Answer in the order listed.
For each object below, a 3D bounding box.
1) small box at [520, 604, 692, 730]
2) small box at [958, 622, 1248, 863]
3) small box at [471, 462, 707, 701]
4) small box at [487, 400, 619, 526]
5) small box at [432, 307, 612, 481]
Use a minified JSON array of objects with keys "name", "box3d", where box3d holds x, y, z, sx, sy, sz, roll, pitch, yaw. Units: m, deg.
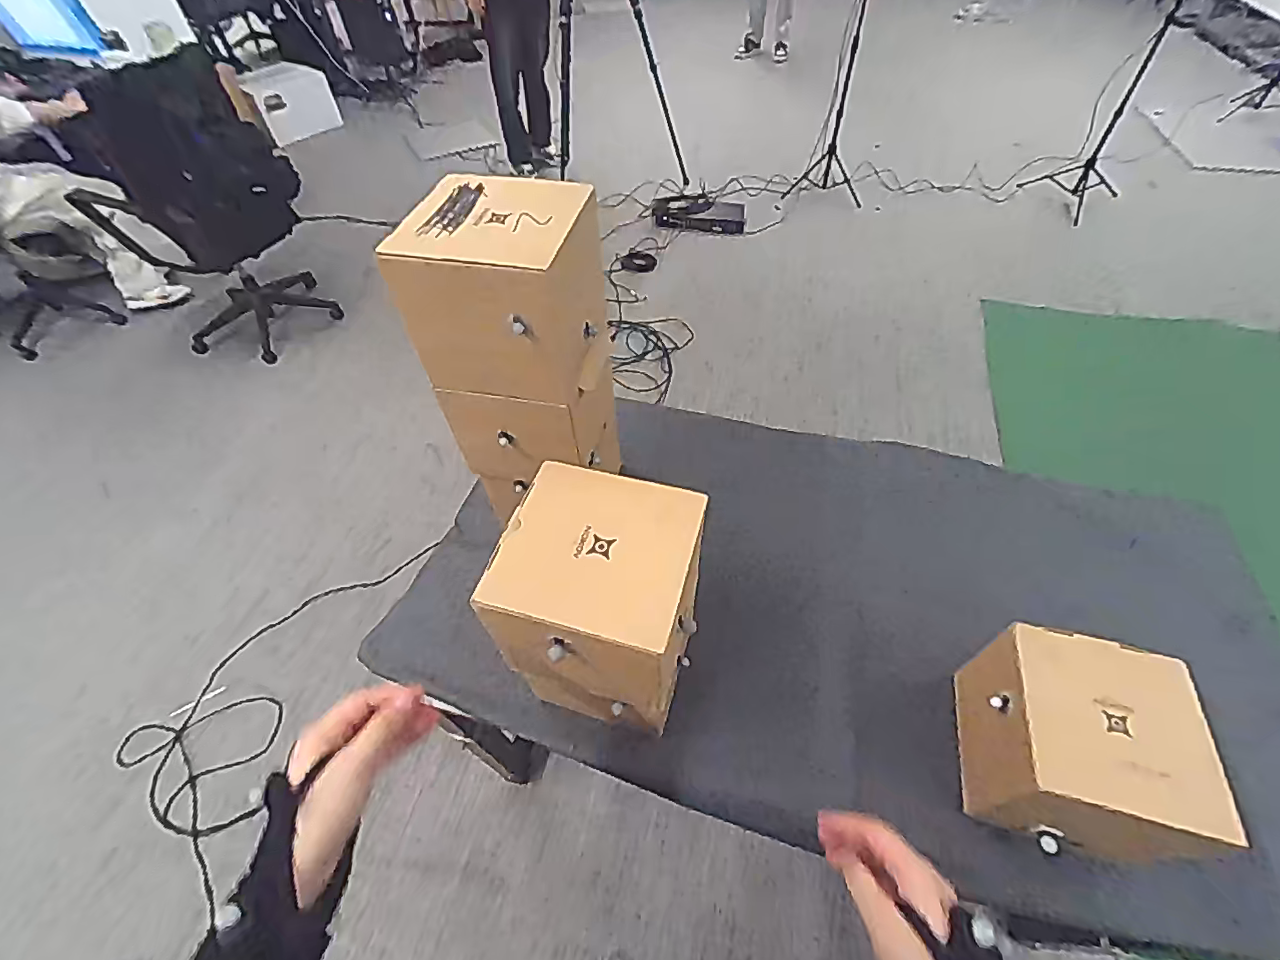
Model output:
[{"name":"small box","box3d":[-0.034,0.199,0.692,0.179,0.176,0.168,13,53,13]},{"name":"small box","box3d":[0.471,0.288,0.593,0.168,0.176,0.179,11,52,12]},{"name":"small box","box3d":[-0.037,0.109,0.557,0.179,0.176,0.168,11,53,13]},{"name":"small box","box3d":[-0.132,-0.021,0.877,0.168,0.176,0.179,8,53,9]},{"name":"small box","box3d":[-0.142,-0.110,0.738,0.179,0.176,0.168,8,54,10]}]
